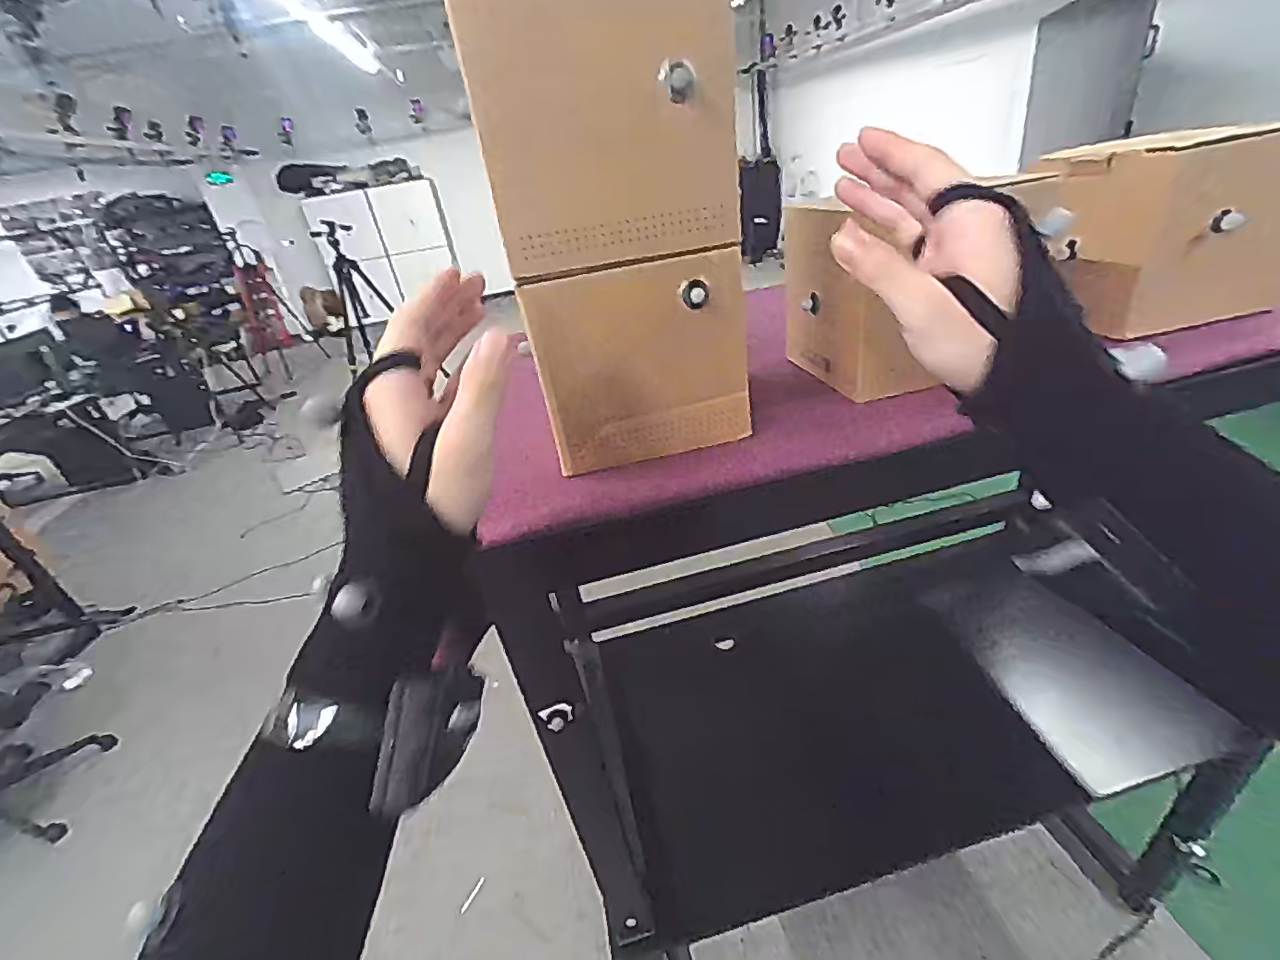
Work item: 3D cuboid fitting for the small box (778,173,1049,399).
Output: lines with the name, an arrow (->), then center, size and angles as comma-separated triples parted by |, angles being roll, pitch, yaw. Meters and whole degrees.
small box -> 0.255, -0.195, 0.543 | 0.179, 0.176, 0.168 | -13, 30, -4

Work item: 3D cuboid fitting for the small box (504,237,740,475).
small box -> -0.016, -0.120, 0.510 | 0.179, 0.176, 0.168 | -12, 29, -5

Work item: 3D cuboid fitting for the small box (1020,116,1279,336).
small box -> 0.530, -0.262, 0.567 | 0.179, 0.176, 0.168 | -14, 30, -3
